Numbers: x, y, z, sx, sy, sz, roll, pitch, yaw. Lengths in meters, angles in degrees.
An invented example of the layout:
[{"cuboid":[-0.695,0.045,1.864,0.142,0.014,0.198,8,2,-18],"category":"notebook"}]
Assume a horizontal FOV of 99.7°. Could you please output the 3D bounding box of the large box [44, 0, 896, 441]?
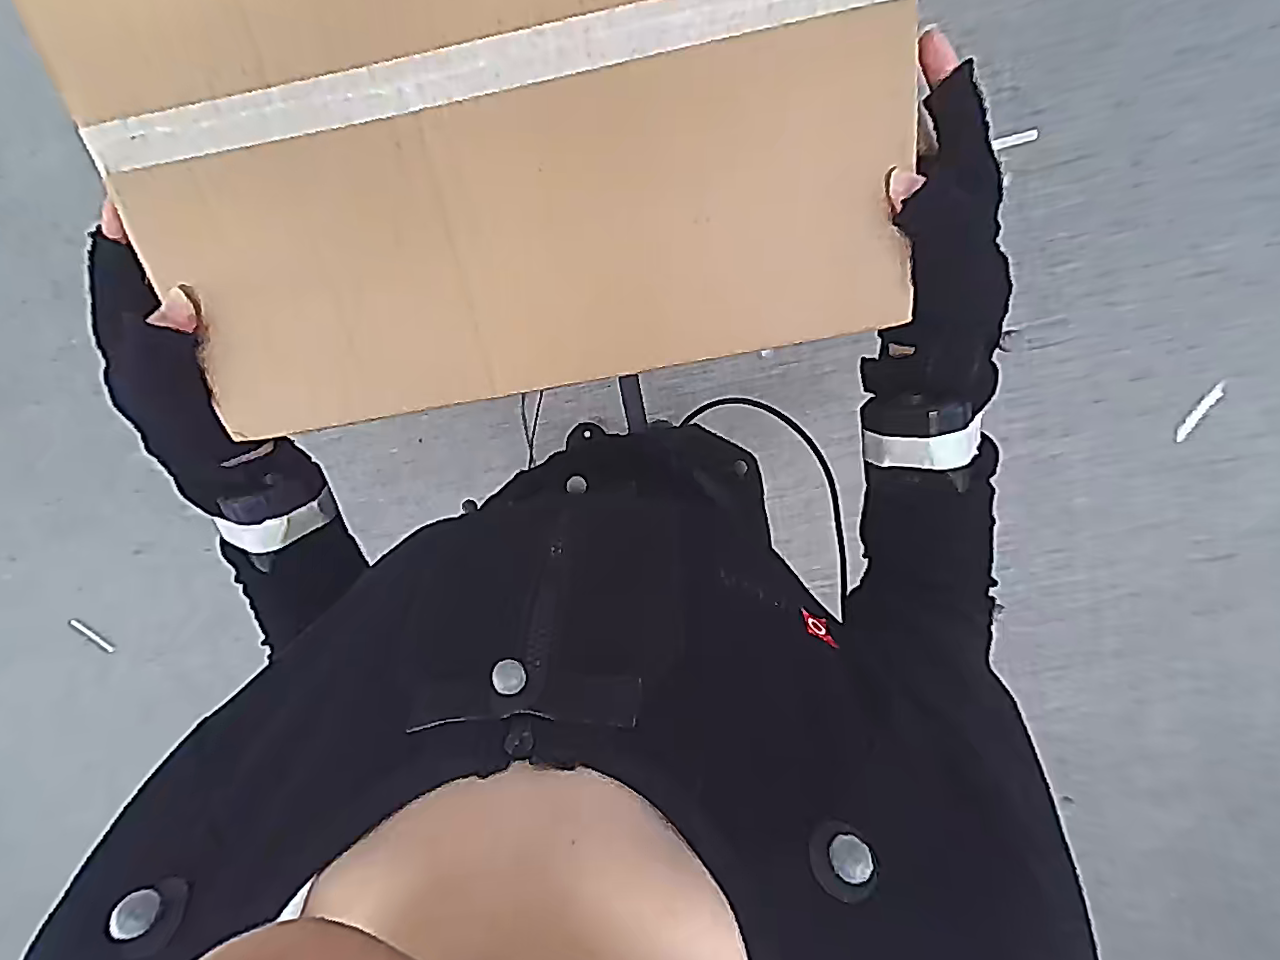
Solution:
[{"cuboid":[-0.073,-0.254,0.407,0.408,0.320,0.320,-9,111,4],"category":"large box"}]
